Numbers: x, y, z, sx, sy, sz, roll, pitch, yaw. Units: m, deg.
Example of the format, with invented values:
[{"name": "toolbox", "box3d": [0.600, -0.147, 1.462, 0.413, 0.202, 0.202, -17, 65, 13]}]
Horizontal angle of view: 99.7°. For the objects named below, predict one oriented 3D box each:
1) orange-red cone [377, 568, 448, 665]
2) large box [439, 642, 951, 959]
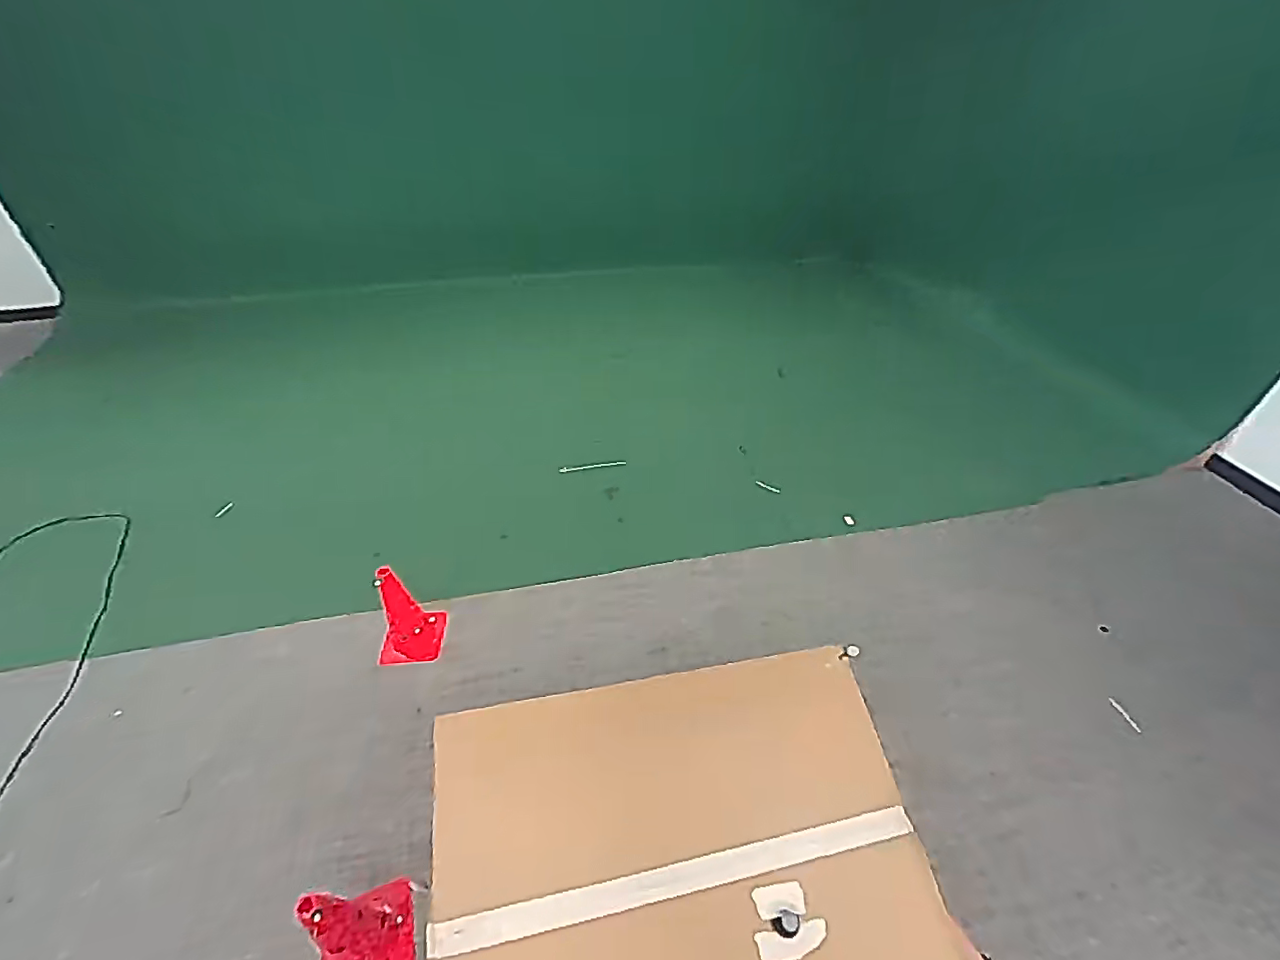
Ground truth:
[{"name": "orange-red cone", "box3d": [-0.784, 0.419, 1.761, 0.199, 0.360, 0.198, -4, 40, -2]}, {"name": "large box", "box3d": [0.022, 0.402, 0.583, 0.408, 0.320, 0.320, -6, 60, -12]}]
